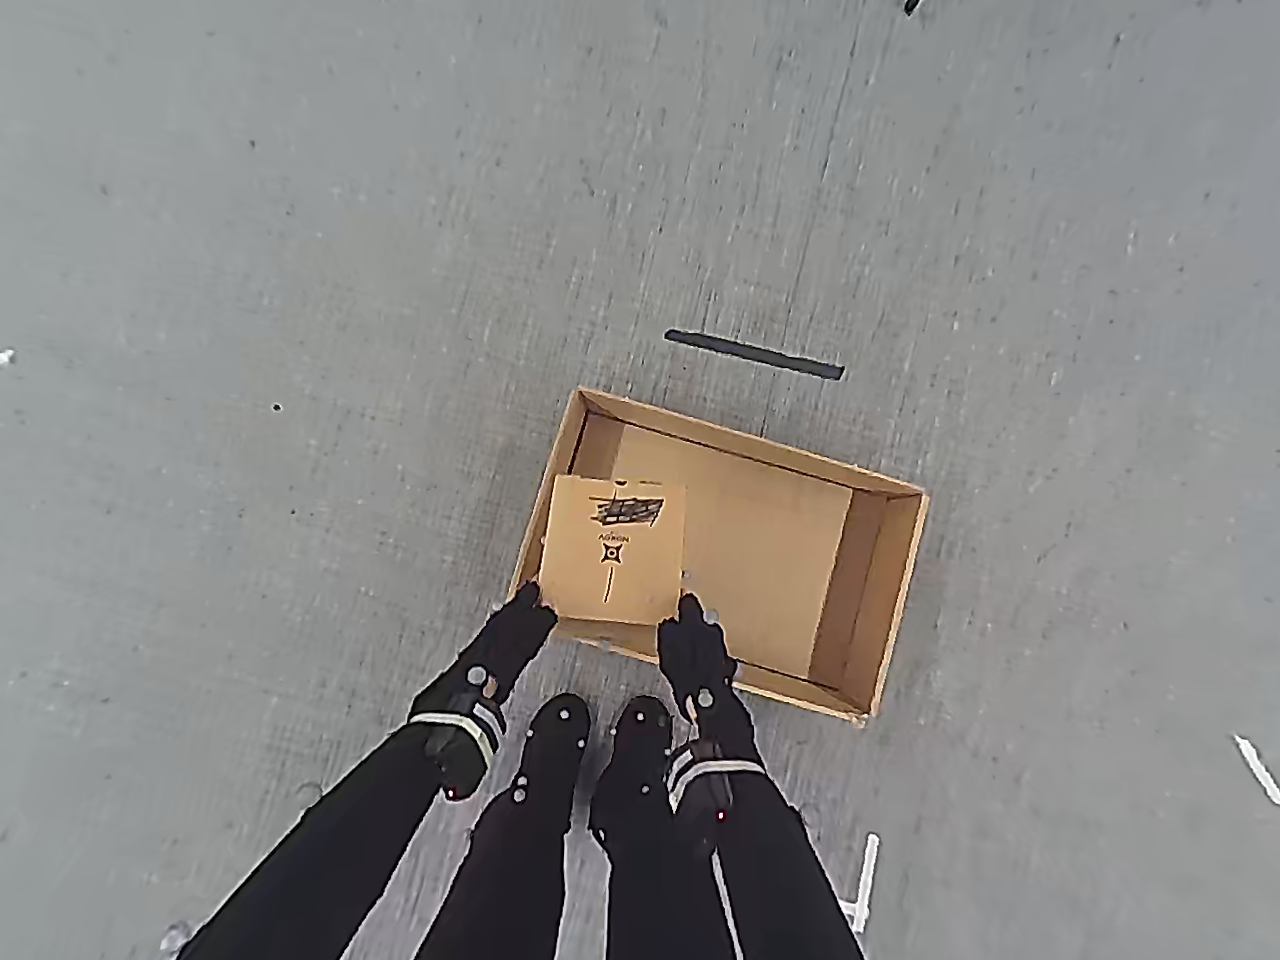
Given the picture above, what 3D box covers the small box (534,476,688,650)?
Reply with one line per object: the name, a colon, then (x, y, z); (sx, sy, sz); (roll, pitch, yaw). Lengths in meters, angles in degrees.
small box: (-0.030, 0.113, 0.700); (0.168, 0.176, 0.179); (4, 65, 2)
